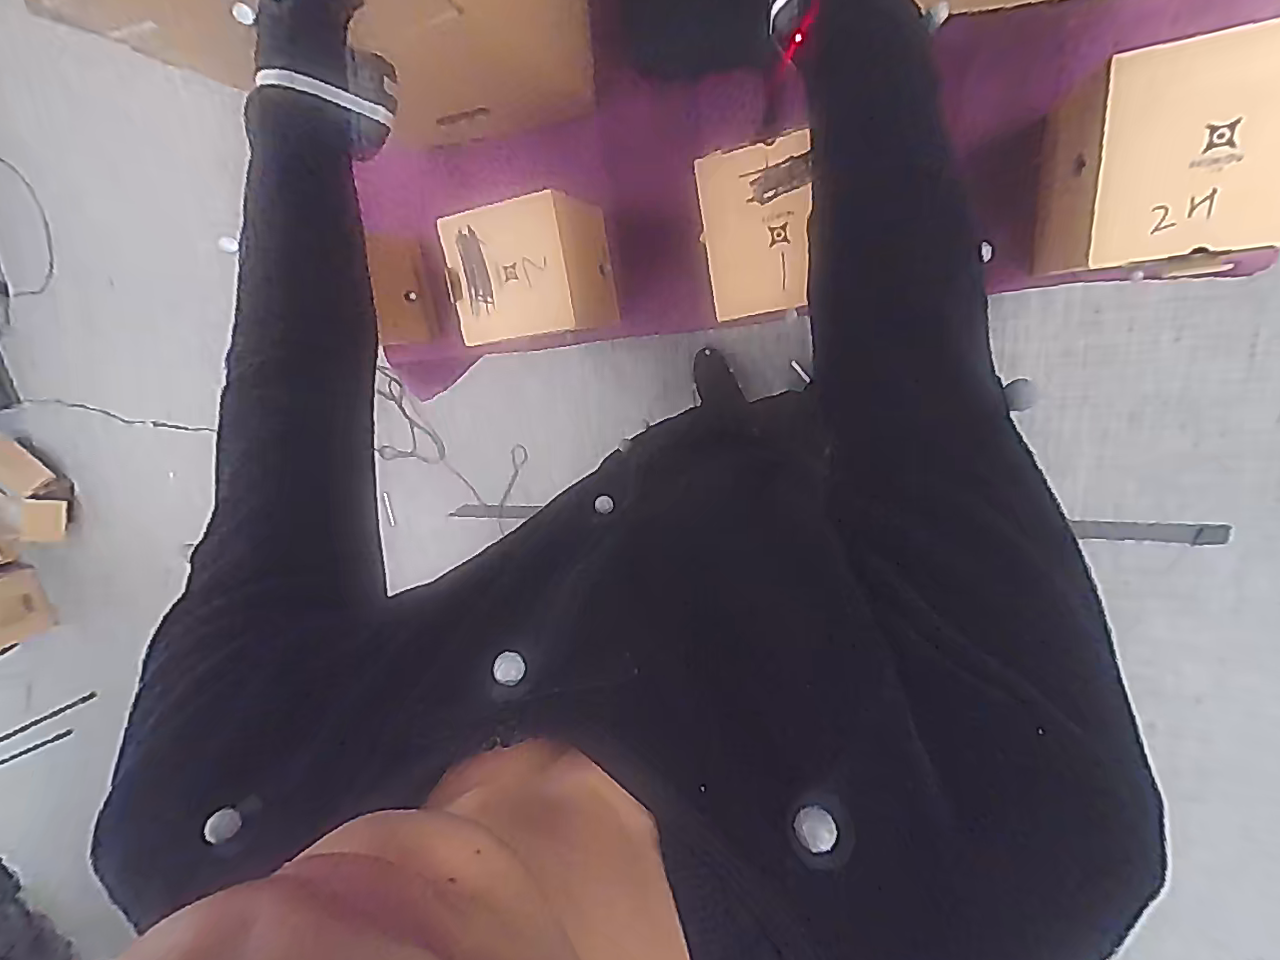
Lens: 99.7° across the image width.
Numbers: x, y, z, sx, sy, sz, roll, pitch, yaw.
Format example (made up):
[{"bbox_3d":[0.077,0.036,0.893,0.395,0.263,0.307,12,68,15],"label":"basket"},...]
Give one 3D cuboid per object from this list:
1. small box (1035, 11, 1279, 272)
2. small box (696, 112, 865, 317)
[{"bbox_3d":[0.513,-0.308,0.528,0.168,0.176,0.179,0,108,21],"label":"small box"},{"bbox_3d":[0.175,-0.302,0.654,0.168,0.176,0.179,-5,107,22],"label":"small box"}]
